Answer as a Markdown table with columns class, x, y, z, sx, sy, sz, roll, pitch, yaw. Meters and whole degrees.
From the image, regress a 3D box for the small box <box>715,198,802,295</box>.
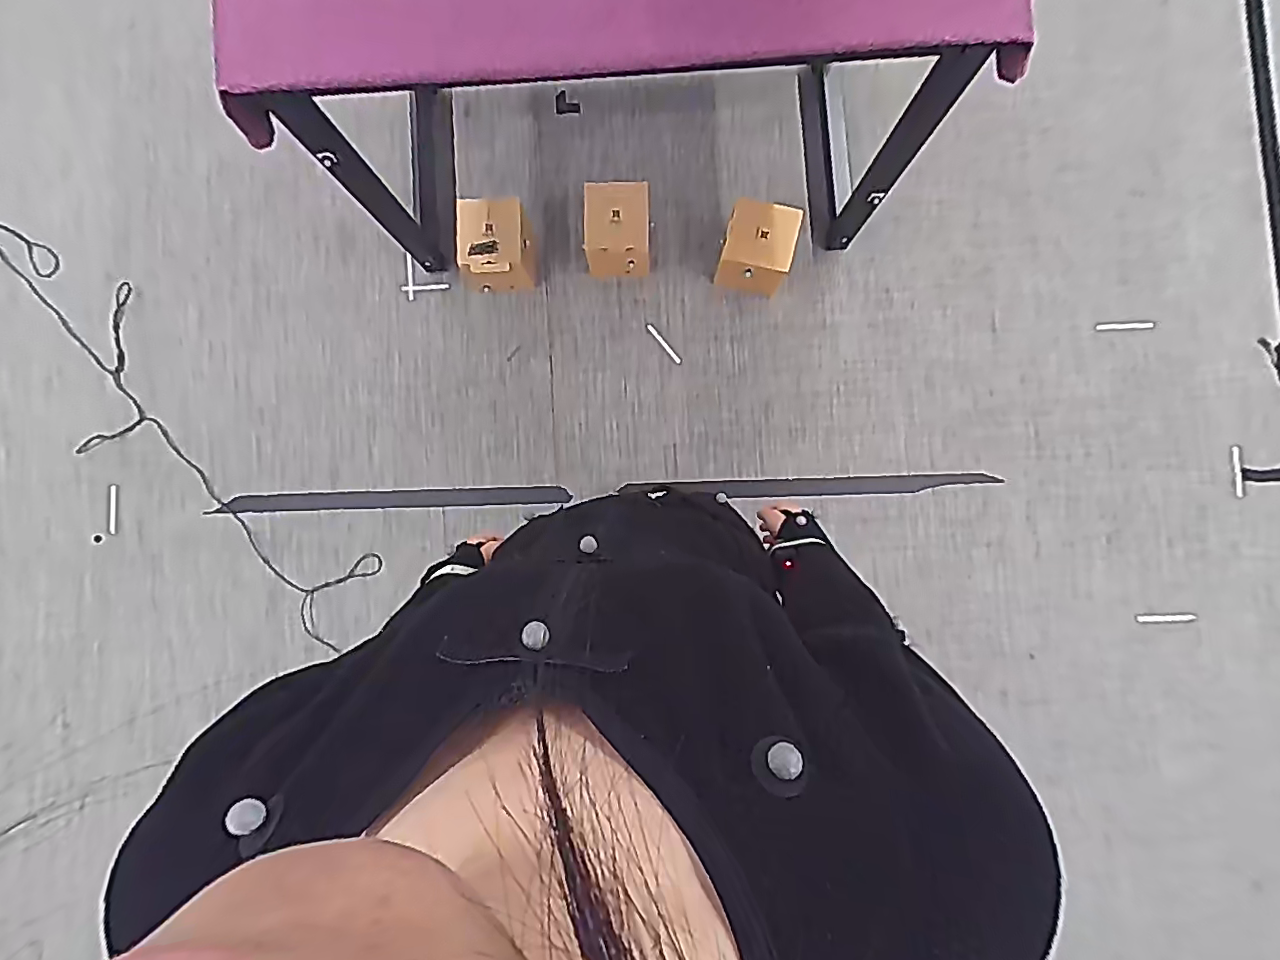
| class | x | y | z | sx | sy | sz | roll | pitch | yaw |
| --- | --- | --- | --- | --- | --- | --- | --- | --- | --- |
| small box | 0.308 | -0.613 | 1.444 | 0.179 | 0.176 | 0.168 | 14 | 89 | 3 |

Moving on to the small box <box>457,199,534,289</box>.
| class | x | y | z | sx | sy | sz | roll | pitch | yaw |
| --- | --- | --- | --- | --- | --- | --- | --- | --- | --- |
| small box | -0.383 | -0.626 | 1.456 | 0.168 | 0.176 | 0.179 | -2 | 87 | 1 |

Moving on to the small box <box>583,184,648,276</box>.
| class | x | y | z | sx | sy | sz | roll | pitch | yaw |
| --- | --- | --- | --- | --- | --- | --- | --- | --- | --- |
| small box | -0.062 | -0.663 | 1.453 | 0.168 | 0.176 | 0.179 | -1 | 87 | 0 |
